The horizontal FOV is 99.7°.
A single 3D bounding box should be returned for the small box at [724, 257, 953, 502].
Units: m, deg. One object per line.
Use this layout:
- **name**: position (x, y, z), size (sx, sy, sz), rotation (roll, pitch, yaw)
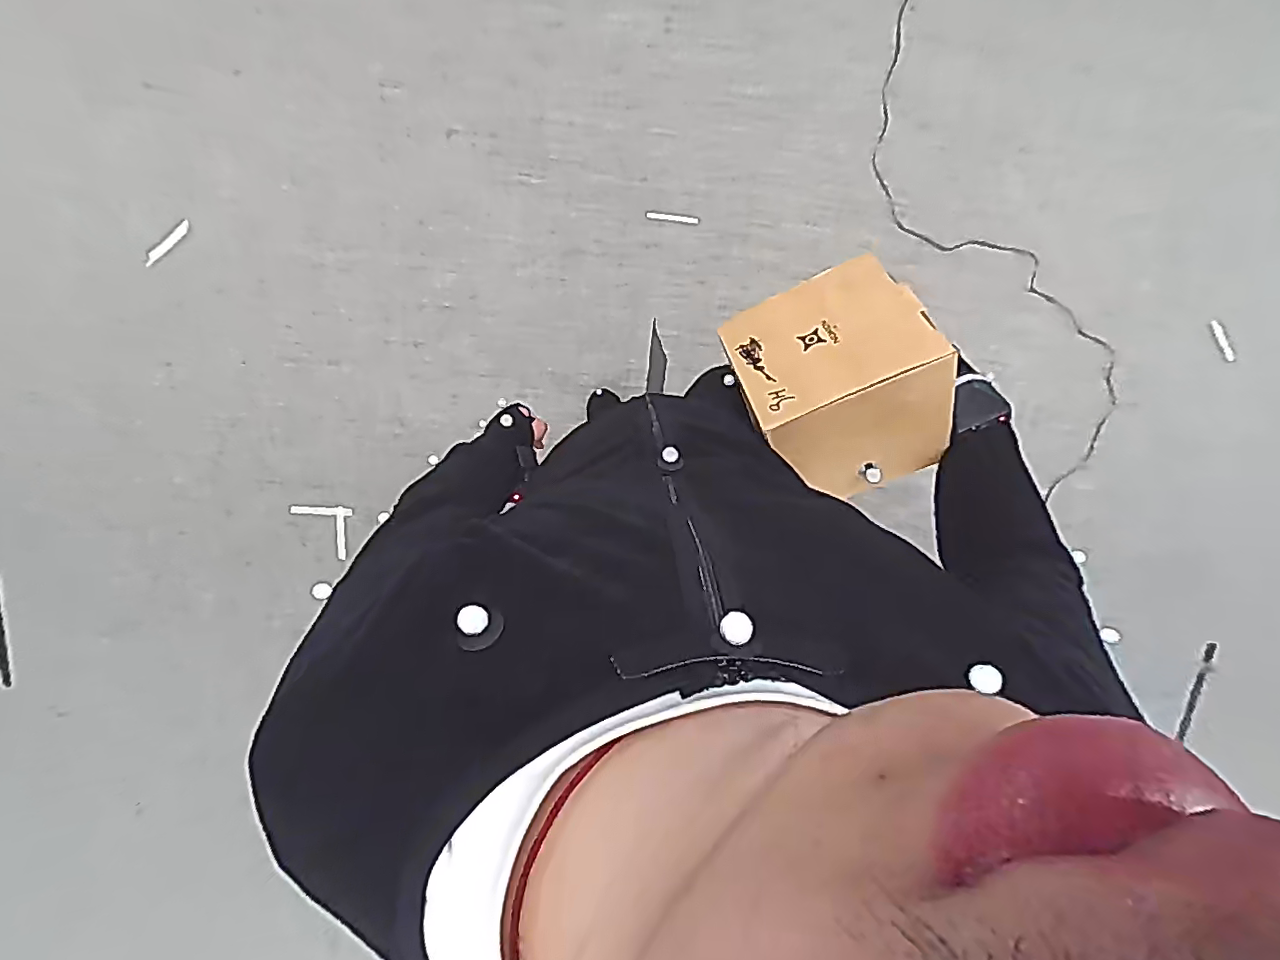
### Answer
- **small box**: position (0.214, -0.103, 0.604), size (0.179, 0.168, 0.176), rotation (-22, 141, 11)
